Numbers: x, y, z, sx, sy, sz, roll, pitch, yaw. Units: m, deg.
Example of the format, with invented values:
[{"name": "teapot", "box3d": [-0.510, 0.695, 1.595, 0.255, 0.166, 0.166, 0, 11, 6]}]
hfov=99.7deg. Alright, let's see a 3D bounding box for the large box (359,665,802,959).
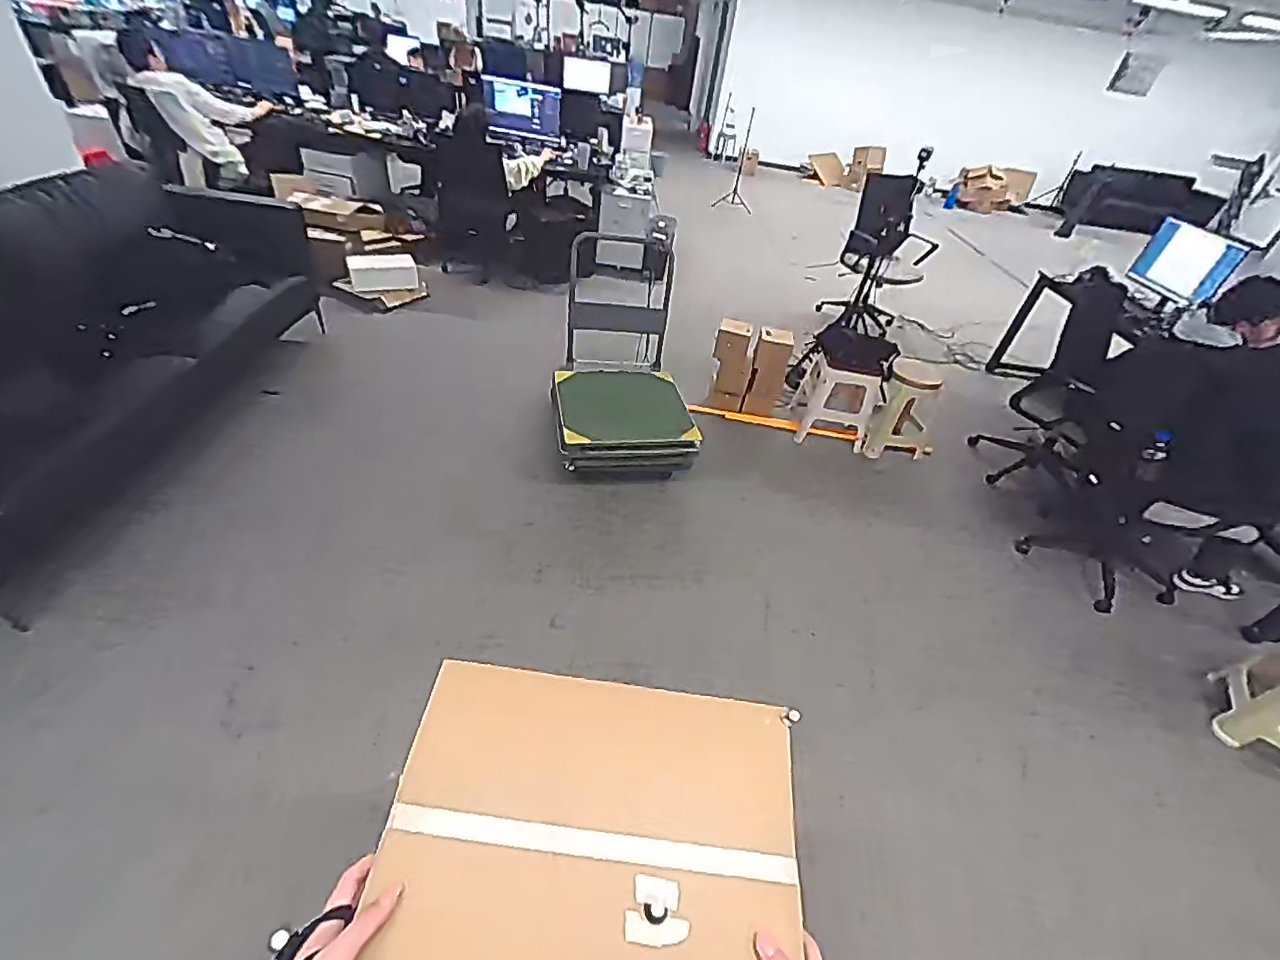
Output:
[{"name": "large box", "box3d": [-0.055, 0.449, 0.658, 0.408, 0.320, 0.320, 8, 53, -1]}]
